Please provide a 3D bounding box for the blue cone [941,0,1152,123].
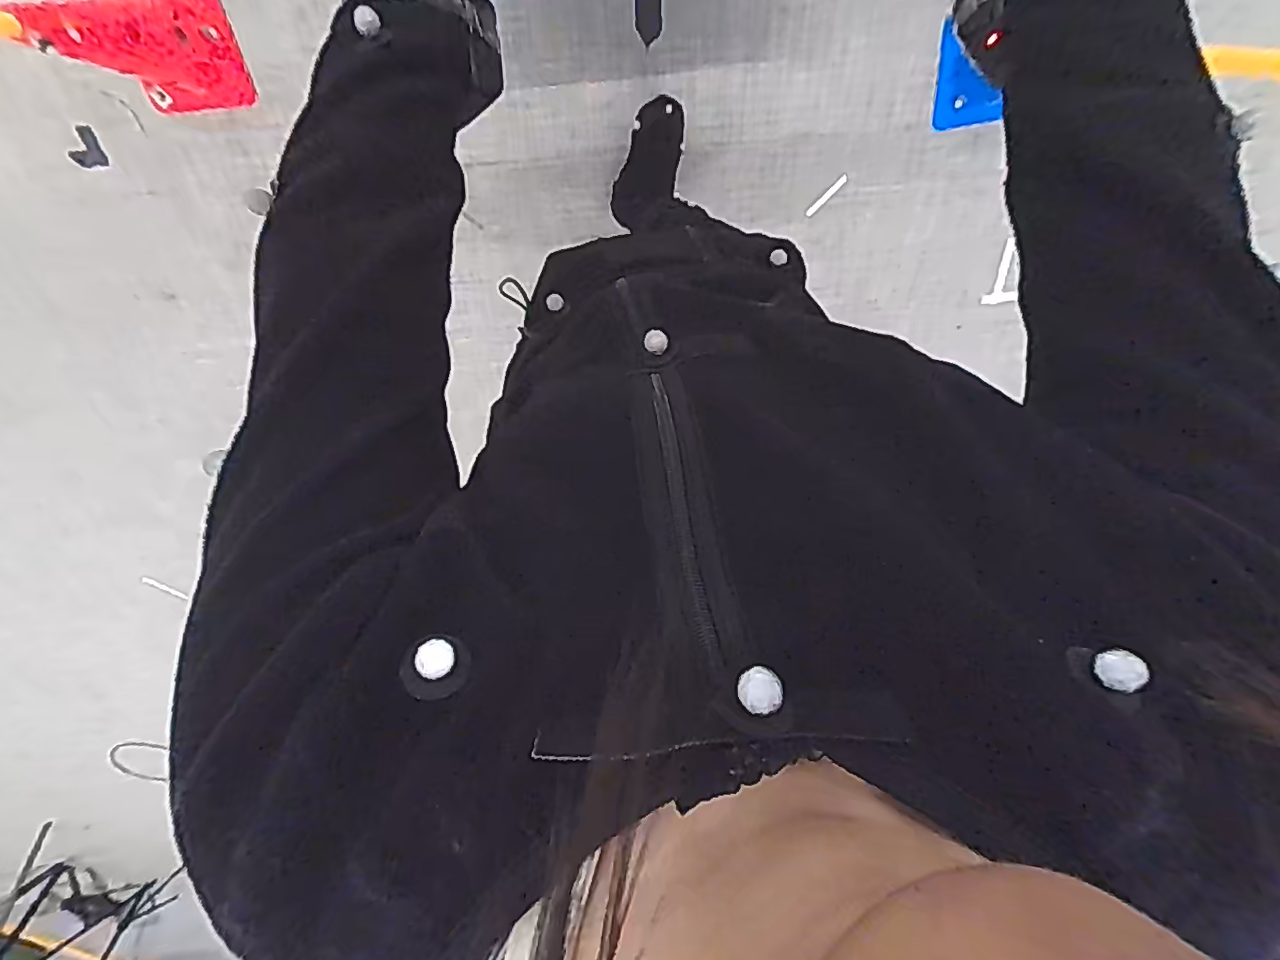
[{"bbox_3d":[0.716,-0.744,0.946,0.193,0.380,0.192,-8,124,1],"label":"blue cone"}]
